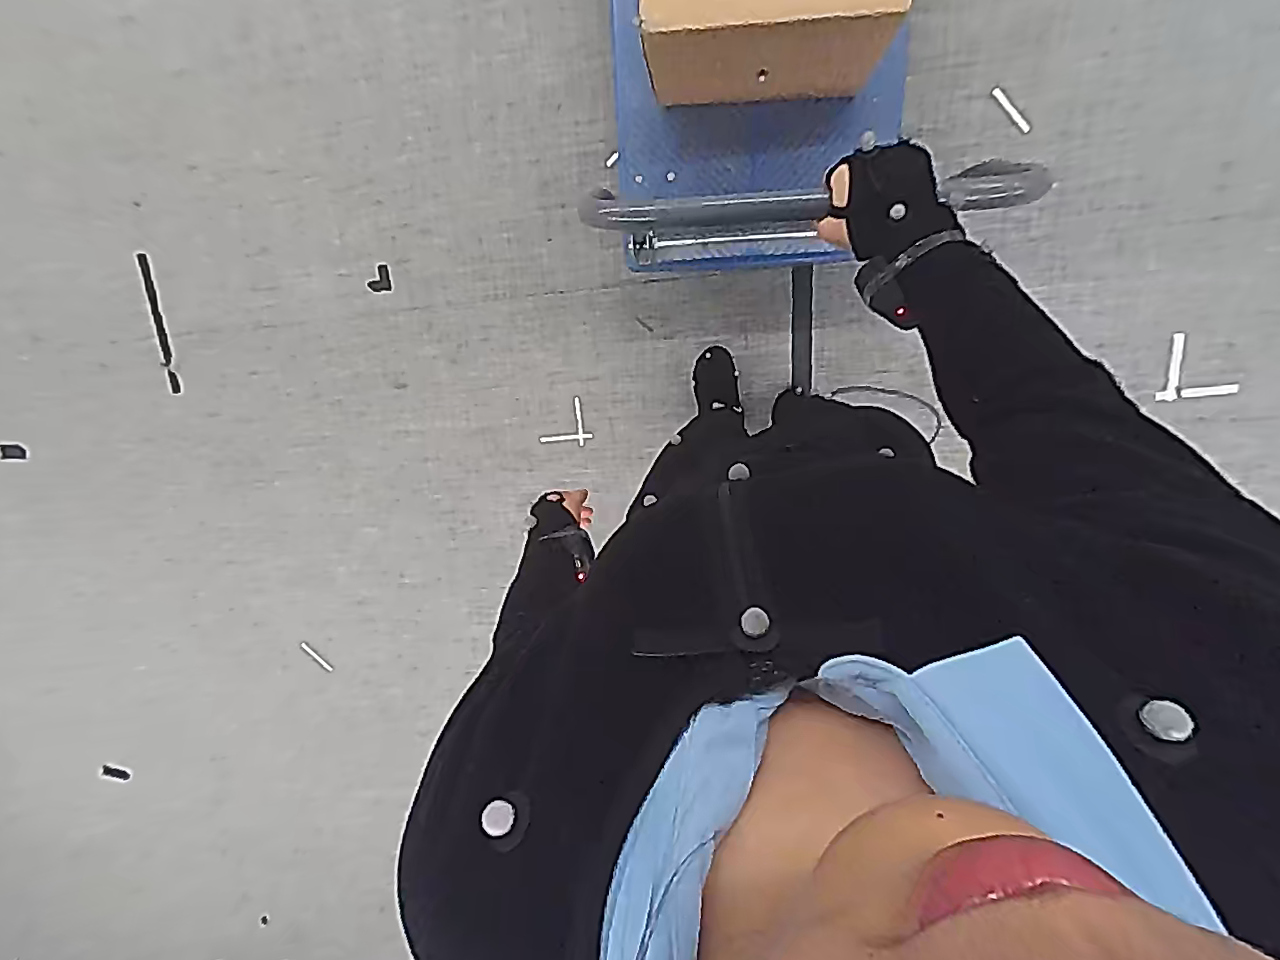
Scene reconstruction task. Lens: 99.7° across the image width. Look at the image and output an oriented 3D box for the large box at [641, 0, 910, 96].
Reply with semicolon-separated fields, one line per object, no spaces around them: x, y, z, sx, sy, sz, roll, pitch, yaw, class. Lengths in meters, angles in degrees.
0.218;-0.886;0.900;0.408;0.320;0.320;1;106;8;large box
